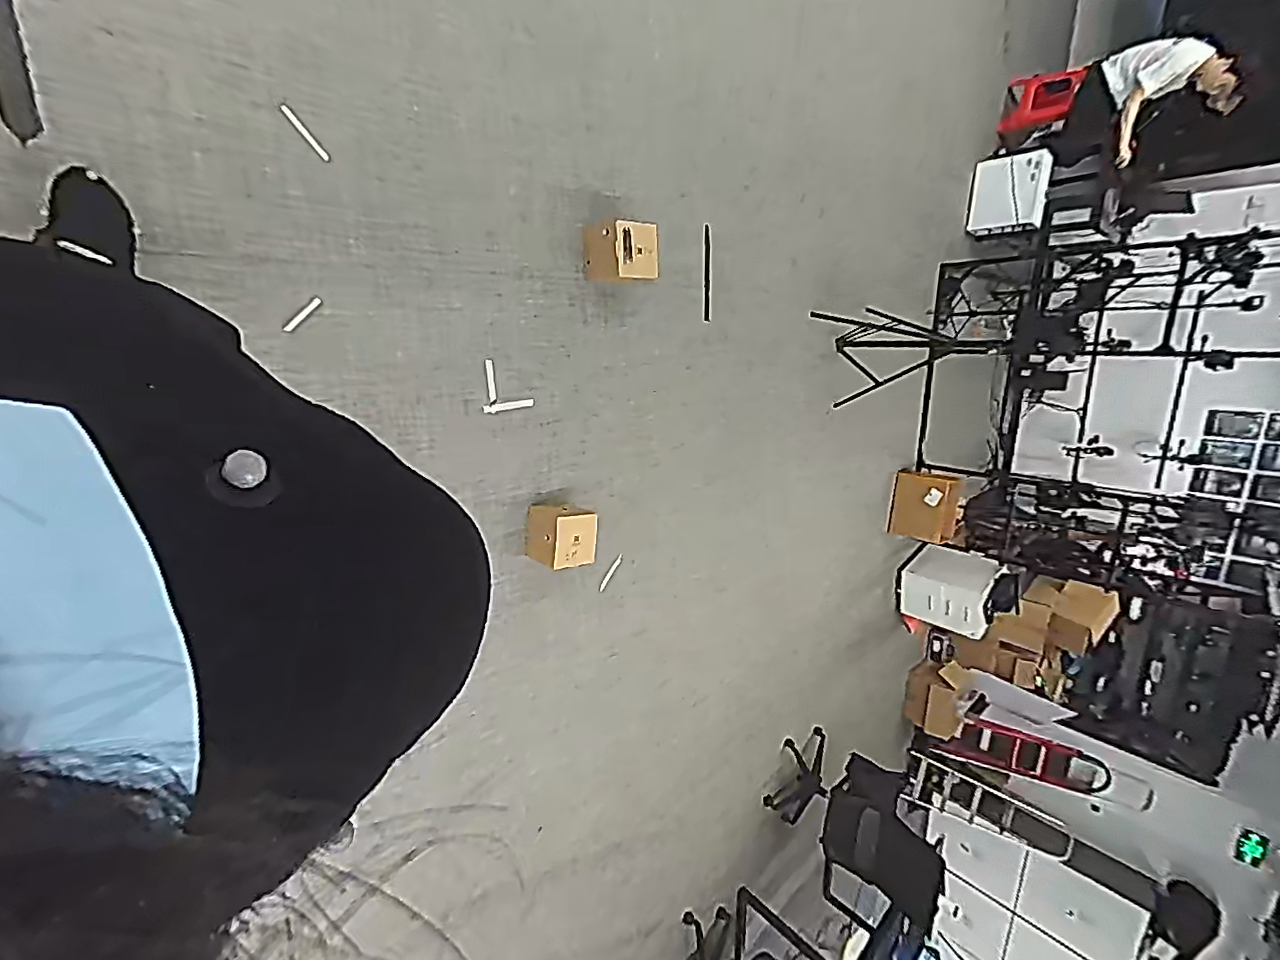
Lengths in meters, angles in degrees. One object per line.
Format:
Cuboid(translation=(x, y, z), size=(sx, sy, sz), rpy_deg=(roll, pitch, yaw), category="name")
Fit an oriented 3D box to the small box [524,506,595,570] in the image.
Cuboid(translation=(-0.272, 0.187, 1.806), size=(0.168, 0.176, 0.179), rpy_deg=(-2, 102, -43), category="small box")
